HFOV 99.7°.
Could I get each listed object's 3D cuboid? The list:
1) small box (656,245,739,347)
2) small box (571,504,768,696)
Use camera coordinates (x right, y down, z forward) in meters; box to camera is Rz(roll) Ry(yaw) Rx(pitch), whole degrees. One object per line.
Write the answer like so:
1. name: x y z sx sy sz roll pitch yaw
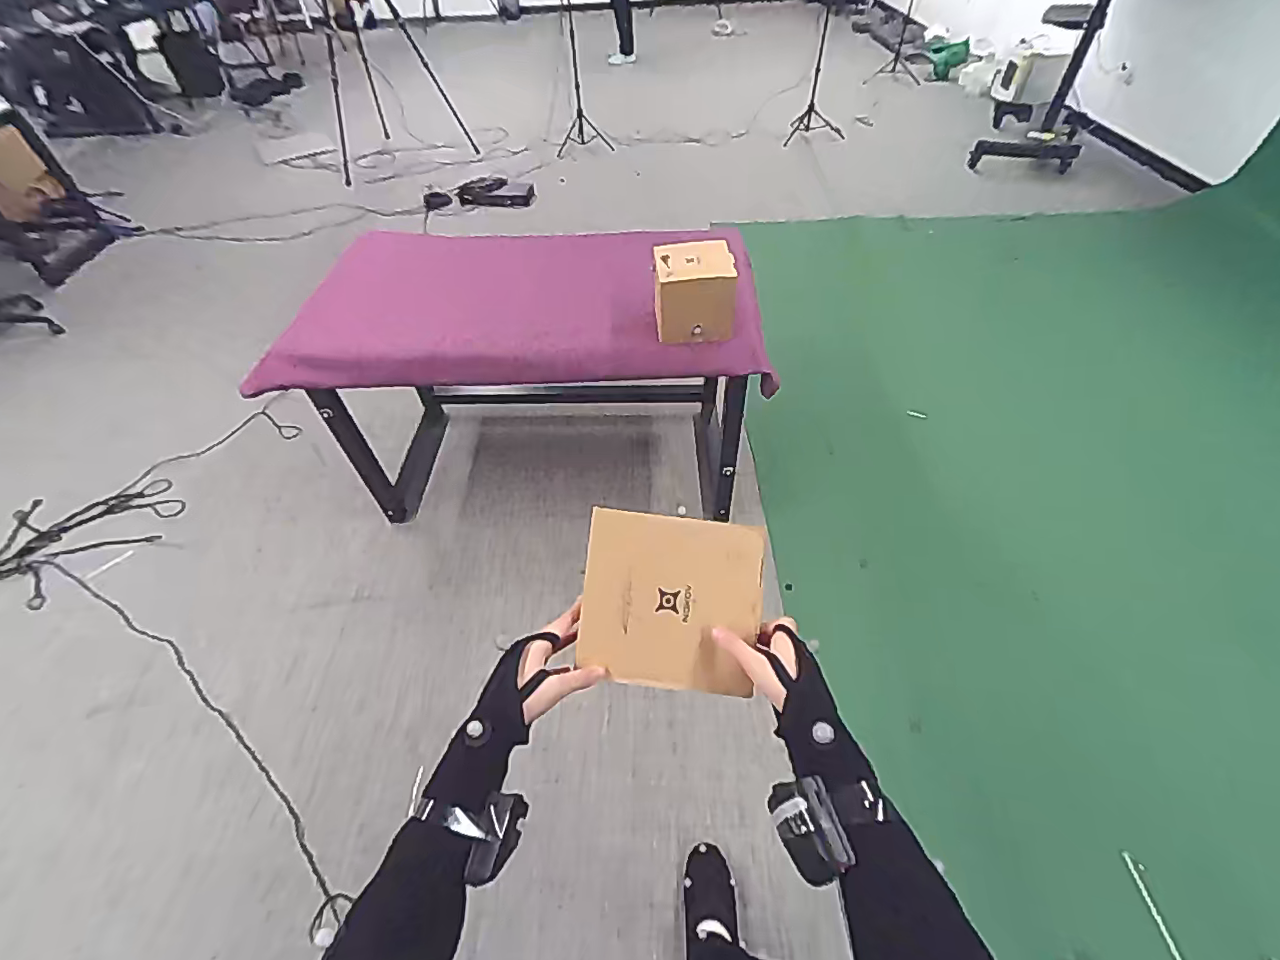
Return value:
1. small box: 0.129 -0.437 1.293 0.179 0.176 0.168 -4 49 0
2. small box: 0.028 0.125 0.602 0.179 0.176 0.168 8 81 -1
